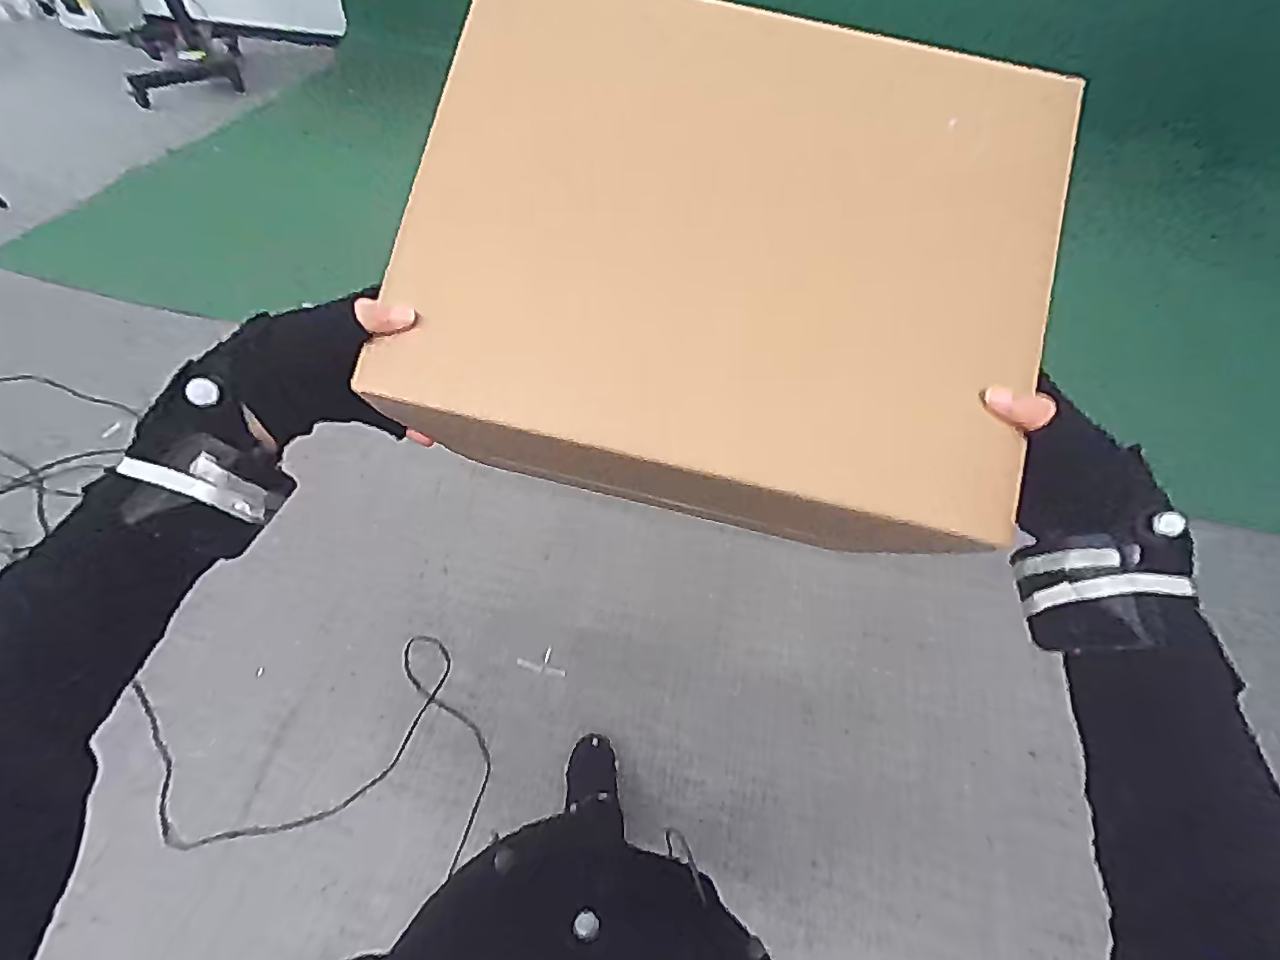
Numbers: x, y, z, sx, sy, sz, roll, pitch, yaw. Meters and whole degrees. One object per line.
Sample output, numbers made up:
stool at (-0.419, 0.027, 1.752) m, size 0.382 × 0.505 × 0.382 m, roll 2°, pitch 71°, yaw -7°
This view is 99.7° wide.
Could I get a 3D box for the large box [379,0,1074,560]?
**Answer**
large box at (0.060, -0.134, 0.493) m, size 0.408 × 0.320 × 0.320 m, roll 15°, pitch 84°, yaw 1°
